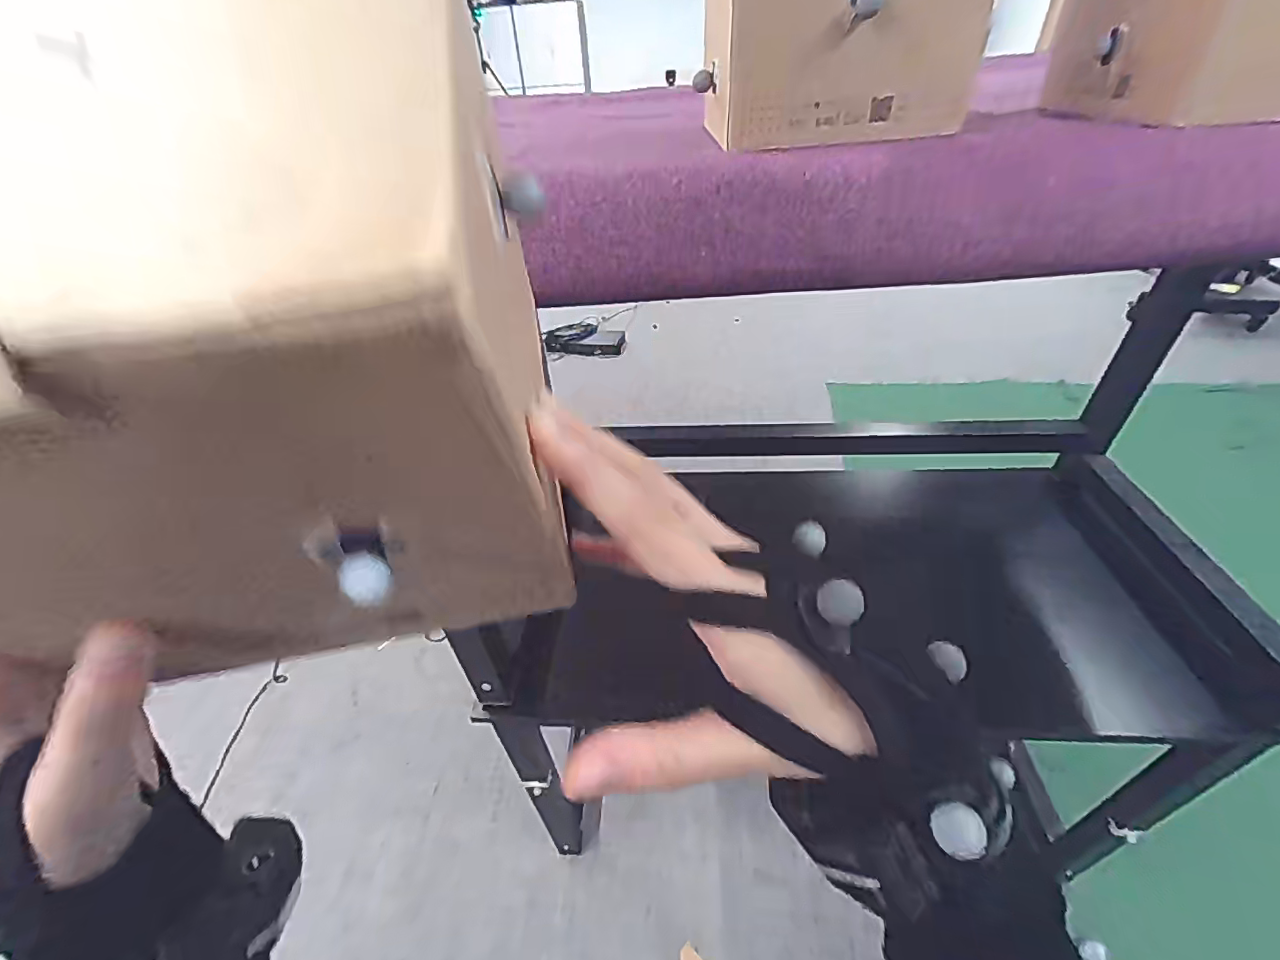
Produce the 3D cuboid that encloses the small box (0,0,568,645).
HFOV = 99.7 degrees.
[{"bbox_3d":[-0.122,-0.051,0.188,0.168,0.176,0.179,-9,61,-6],"label":"small box"}]

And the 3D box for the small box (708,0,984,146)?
[{"bbox_3d":[0.139,-0.354,0.398,0.168,0.176,0.179,-2,39,2],"label":"small box"}]
